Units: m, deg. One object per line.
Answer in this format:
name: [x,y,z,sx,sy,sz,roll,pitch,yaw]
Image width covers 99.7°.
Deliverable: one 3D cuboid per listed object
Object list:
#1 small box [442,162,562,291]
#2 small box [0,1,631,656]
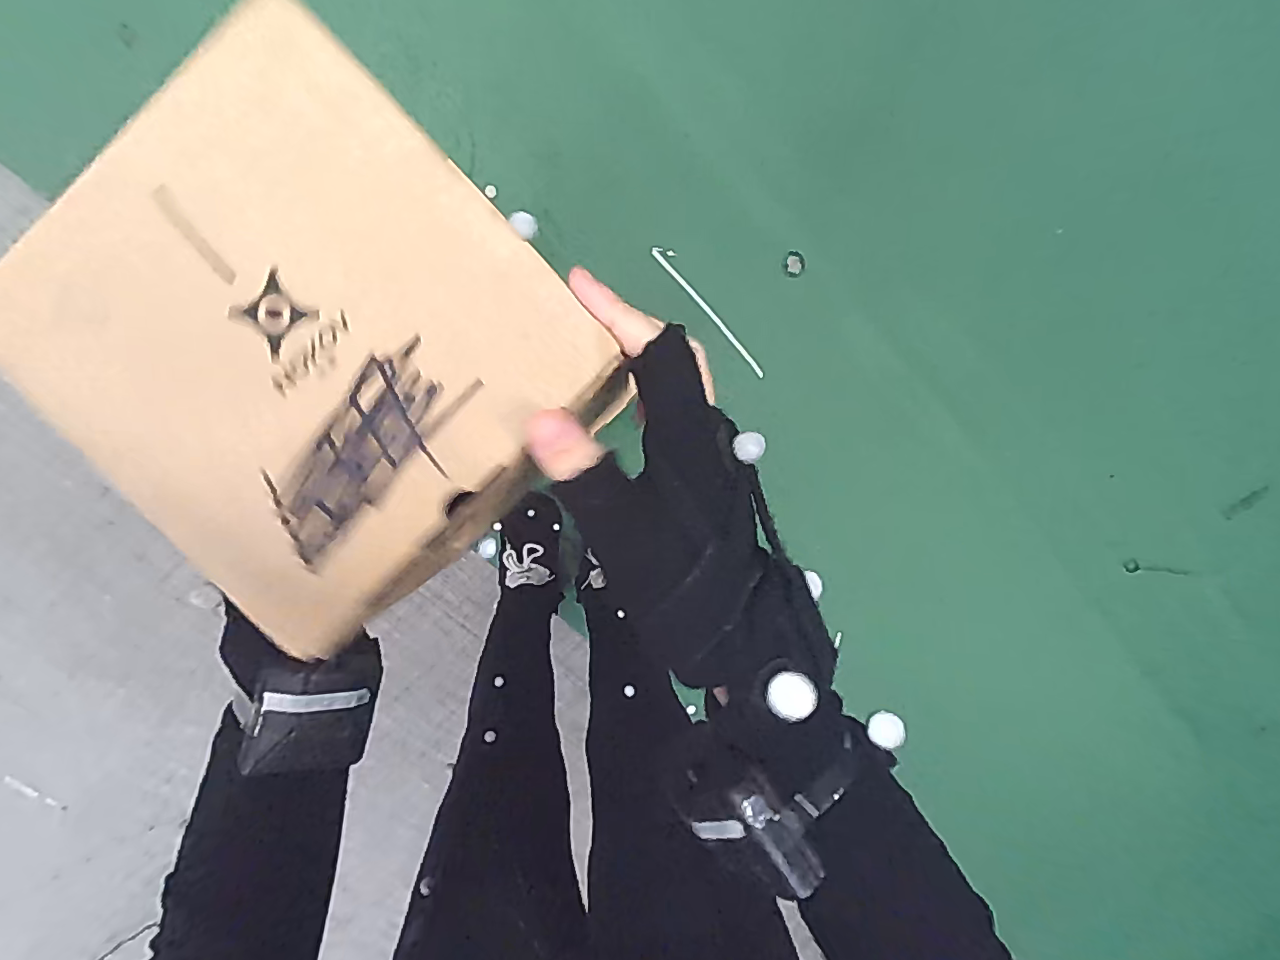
small box: [-0.224,-0.275,0.729,0.168,0.176,0.179,-43,105,6]
small box: [-0.123,-0.056,0.274,0.179,0.176,0.168,43,94,-9]
